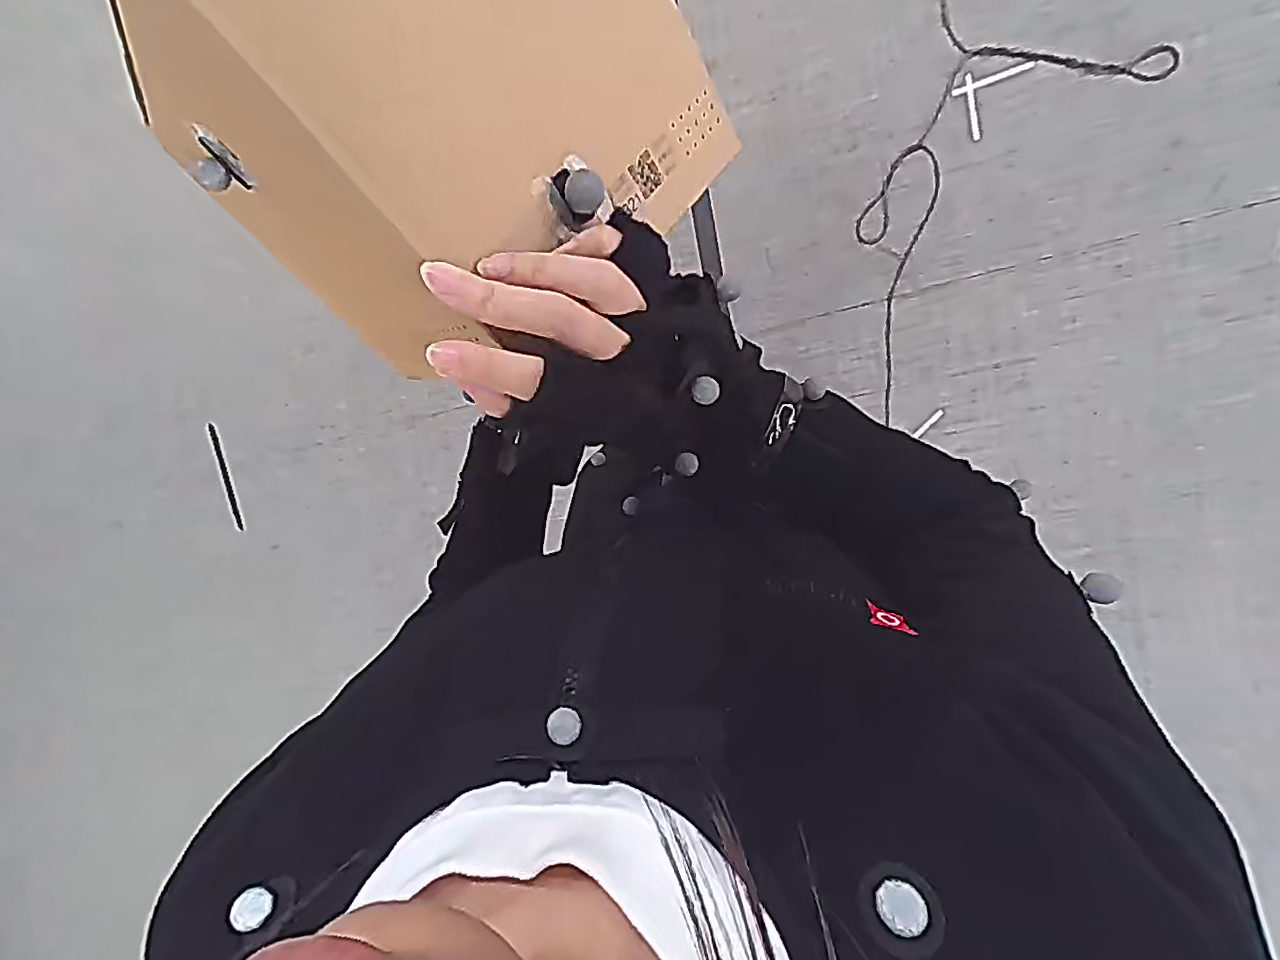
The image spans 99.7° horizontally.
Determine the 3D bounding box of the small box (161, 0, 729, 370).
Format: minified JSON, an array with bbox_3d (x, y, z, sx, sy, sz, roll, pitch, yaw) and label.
[{"bbox_3d":[-0.090,-0.172,0.281,0.179,0.176,0.168,15,63,51],"label":"small box"}]
